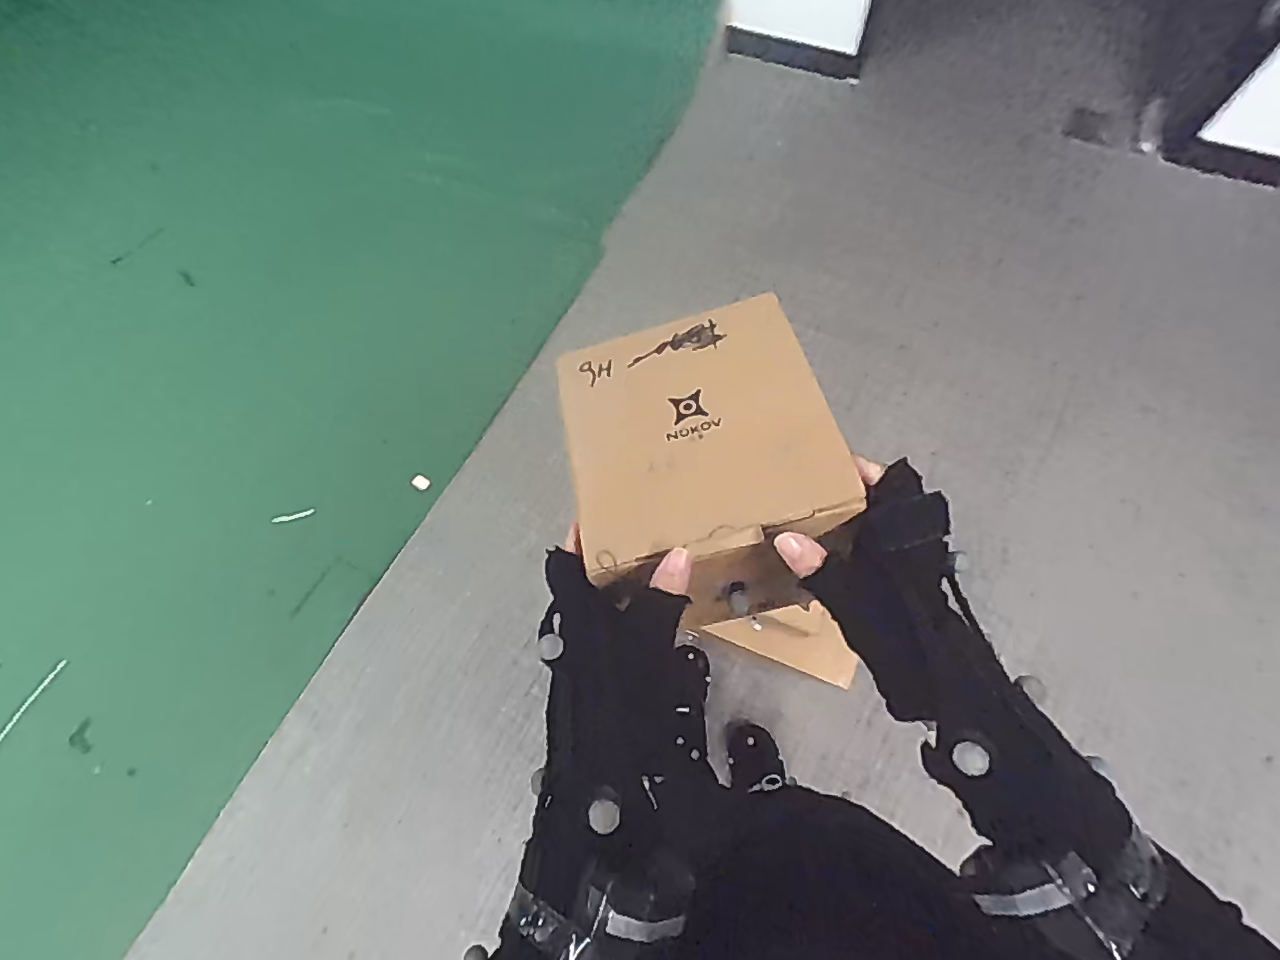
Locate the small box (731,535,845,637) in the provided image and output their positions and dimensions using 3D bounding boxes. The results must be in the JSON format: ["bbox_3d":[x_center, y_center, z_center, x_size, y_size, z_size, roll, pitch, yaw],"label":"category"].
[{"bbox_3d":[0.231,0.165,0.934,0.179,0.176,0.168,15,74,11],"label":"small box"}]

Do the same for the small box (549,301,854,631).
[{"bbox_3d":[0.045,0.006,0.410,0.168,0.176,0.179,-16,60,6],"label":"small box"}]
